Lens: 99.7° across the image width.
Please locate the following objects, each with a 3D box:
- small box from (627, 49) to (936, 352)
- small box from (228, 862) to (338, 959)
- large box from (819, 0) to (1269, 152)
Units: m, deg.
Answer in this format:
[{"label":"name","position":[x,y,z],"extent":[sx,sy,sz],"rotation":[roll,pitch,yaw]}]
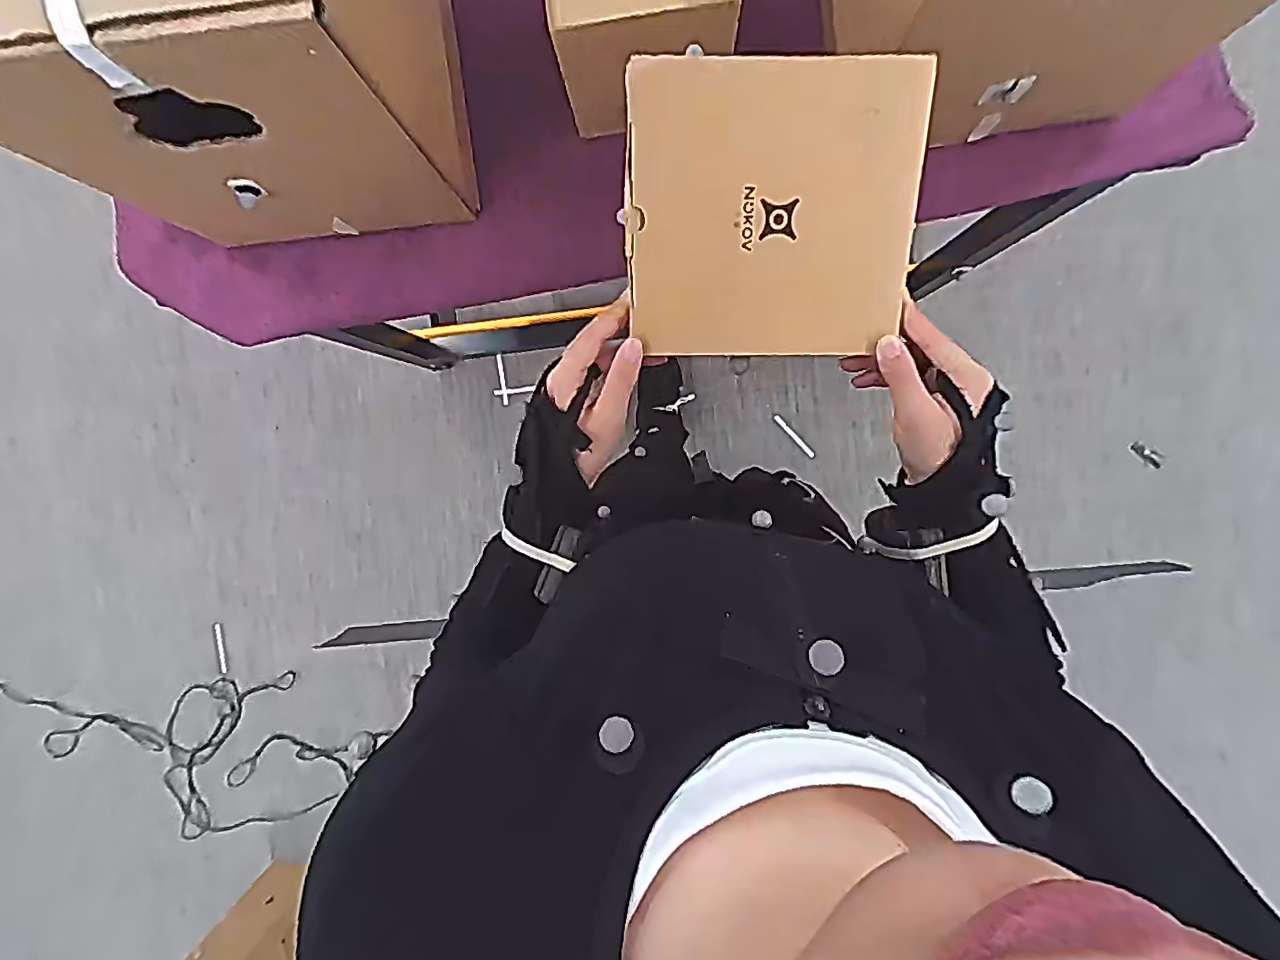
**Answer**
[{"label":"small box","position":[0.080,-0.190,0.403],"extent":[0.179,0.176,0.168],"rotation":[1,109,2]},{"label":"small box","position":[-0.934,1.154,1.435],"extent":[0.179,0.176,0.168],"rotation":[-8,94,4]},{"label":"large box","position":[0.332,-0.557,0.437],"extent":[0.320,0.320,0.408],"rotation":[-7,92,3]}]
